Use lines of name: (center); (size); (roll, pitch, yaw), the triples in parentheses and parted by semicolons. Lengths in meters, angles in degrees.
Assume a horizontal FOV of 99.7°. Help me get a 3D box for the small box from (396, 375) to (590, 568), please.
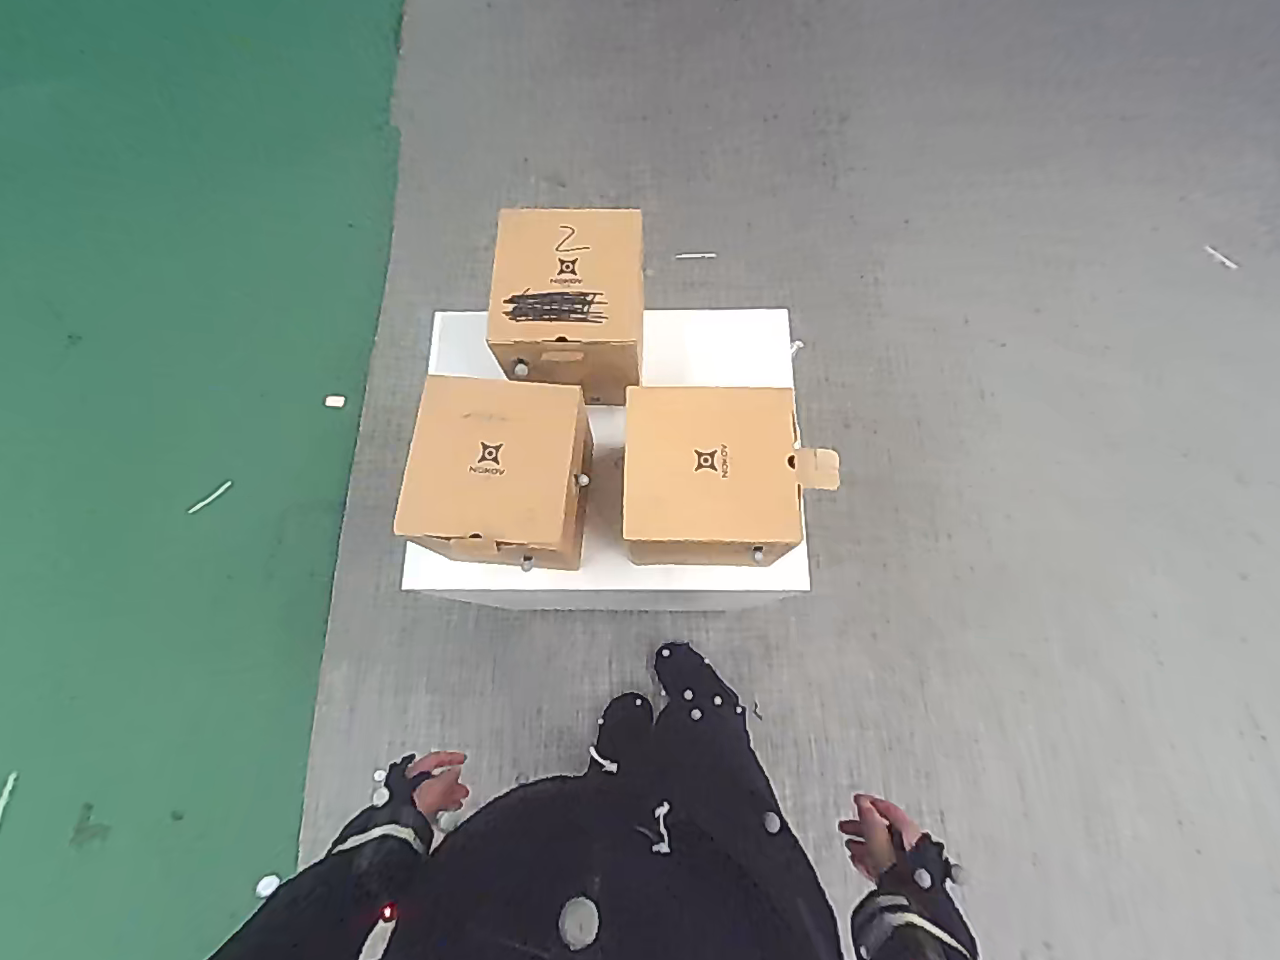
small box: (-0.150, 0.001, 0.622); (0.168, 0.176, 0.179); (4, 72, 1)
